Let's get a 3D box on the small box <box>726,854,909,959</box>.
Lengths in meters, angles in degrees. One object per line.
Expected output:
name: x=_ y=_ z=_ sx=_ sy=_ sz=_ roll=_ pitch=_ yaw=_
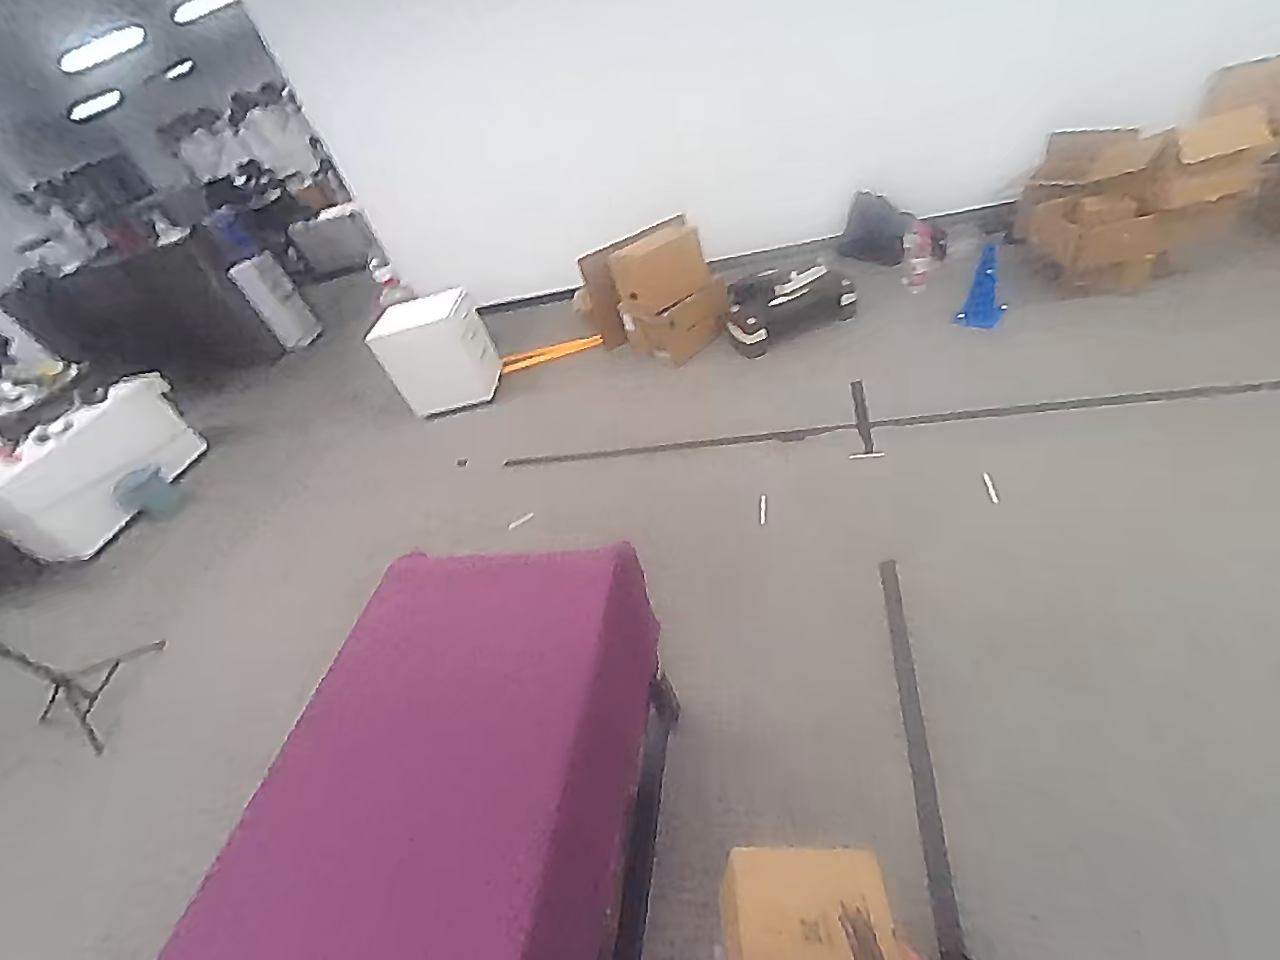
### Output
small box: x=0.202 y=0.566 z=0.633 sx=0.179 sy=0.176 sz=0.168 roll=0 pitch=36 yaw=1
